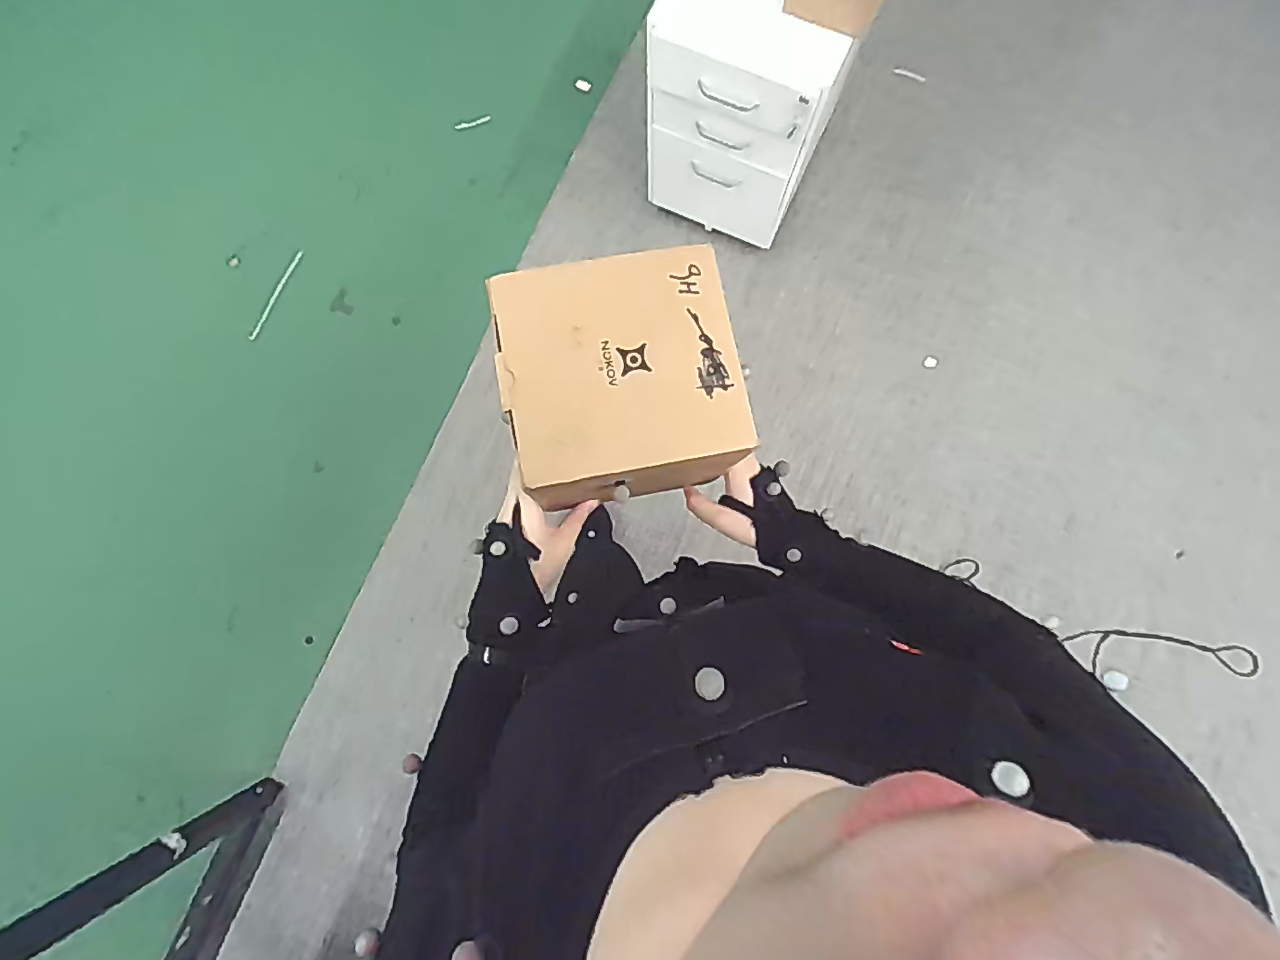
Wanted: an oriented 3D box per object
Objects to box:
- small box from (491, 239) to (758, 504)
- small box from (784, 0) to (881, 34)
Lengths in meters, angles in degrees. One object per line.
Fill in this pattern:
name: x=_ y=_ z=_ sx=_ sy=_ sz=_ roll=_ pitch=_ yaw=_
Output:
small box: x=-0.016 y=-0.079 z=0.476 sx=0.179 sy=0.176 sz=0.168 roll=-10 pitch=82 yaw=-5
small box: x=0.390 y=-0.978 z=0.992 sx=0.179 sy=0.176 sz=0.168 roll=24 pitch=82 yaw=7
